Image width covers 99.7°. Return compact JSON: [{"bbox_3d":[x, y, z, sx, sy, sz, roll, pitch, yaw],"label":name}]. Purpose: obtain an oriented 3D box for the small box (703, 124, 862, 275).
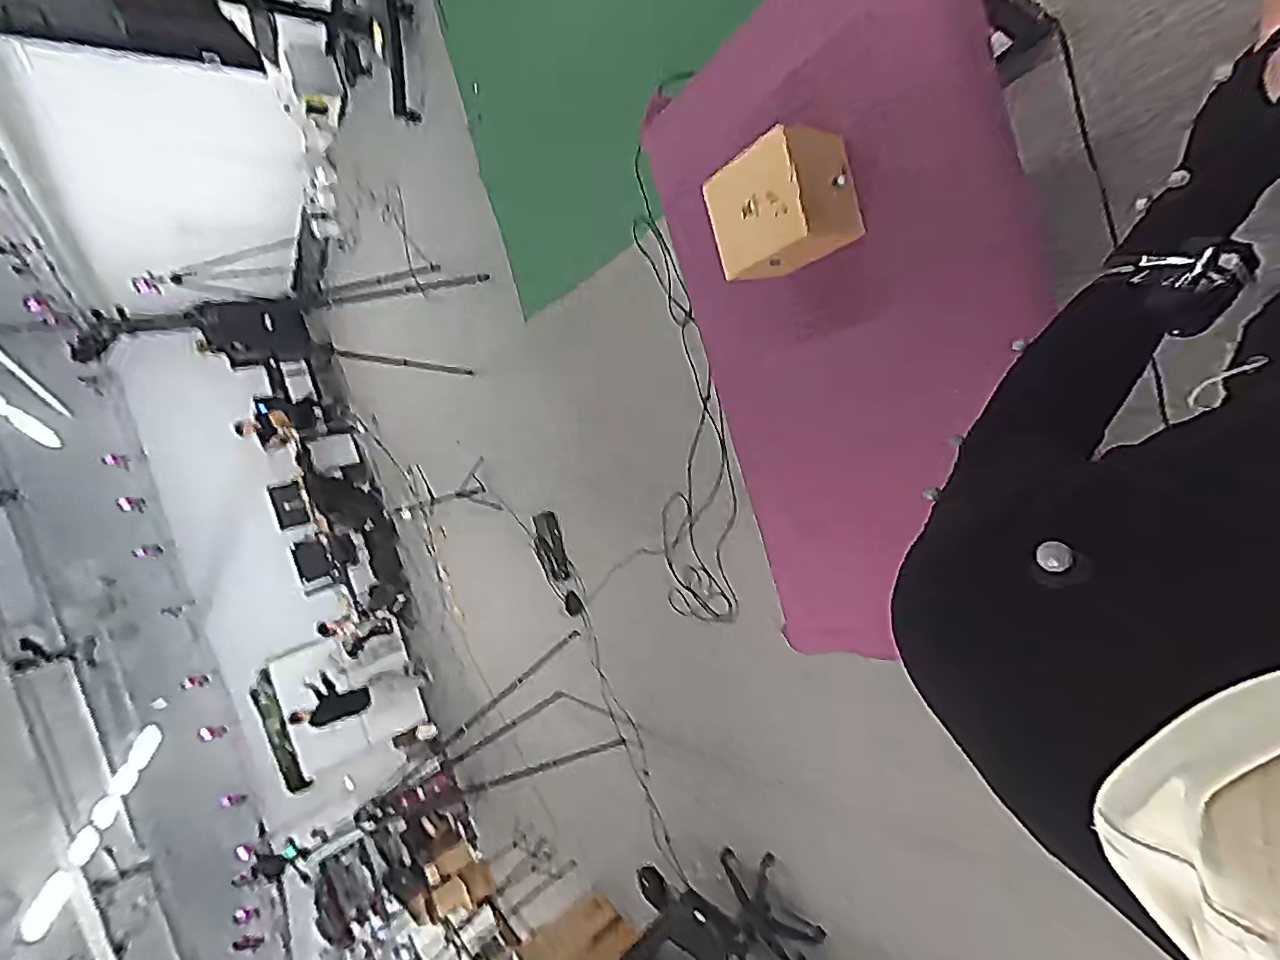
[{"bbox_3d":[0.242,-0.463,0.921,0.179,0.176,0.168,-10,98,53],"label":"small box"}]
